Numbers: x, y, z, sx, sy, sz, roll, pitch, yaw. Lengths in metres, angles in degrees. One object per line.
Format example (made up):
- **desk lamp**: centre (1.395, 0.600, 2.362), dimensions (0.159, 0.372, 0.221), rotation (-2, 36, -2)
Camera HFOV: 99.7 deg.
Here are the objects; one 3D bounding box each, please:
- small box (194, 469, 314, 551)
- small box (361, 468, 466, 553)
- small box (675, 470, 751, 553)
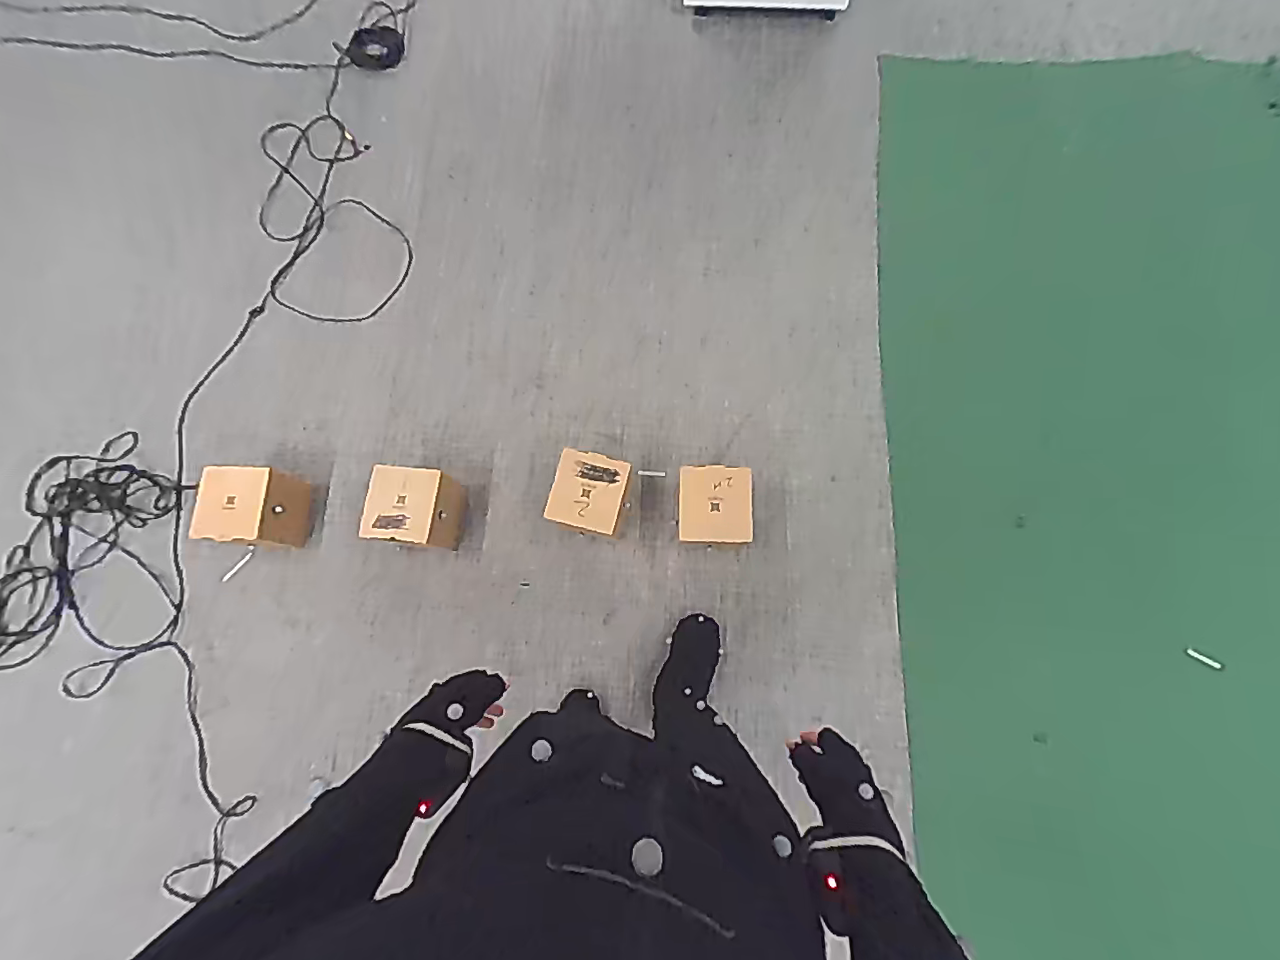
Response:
- **small box**: centre (-0.949, 0.079, 1.348), dimensions (0.168, 0.176, 0.179), rotation (1, 77, 3)
- **small box**: centre (-0.546, 0.081, 1.329), dimensions (0.168, 0.176, 0.179), rotation (6, 76, 4)
- **small box**: centre (0.172, 0.081, 1.300), dimensions (0.168, 0.176, 0.179), rotation (1, 77, 2)
